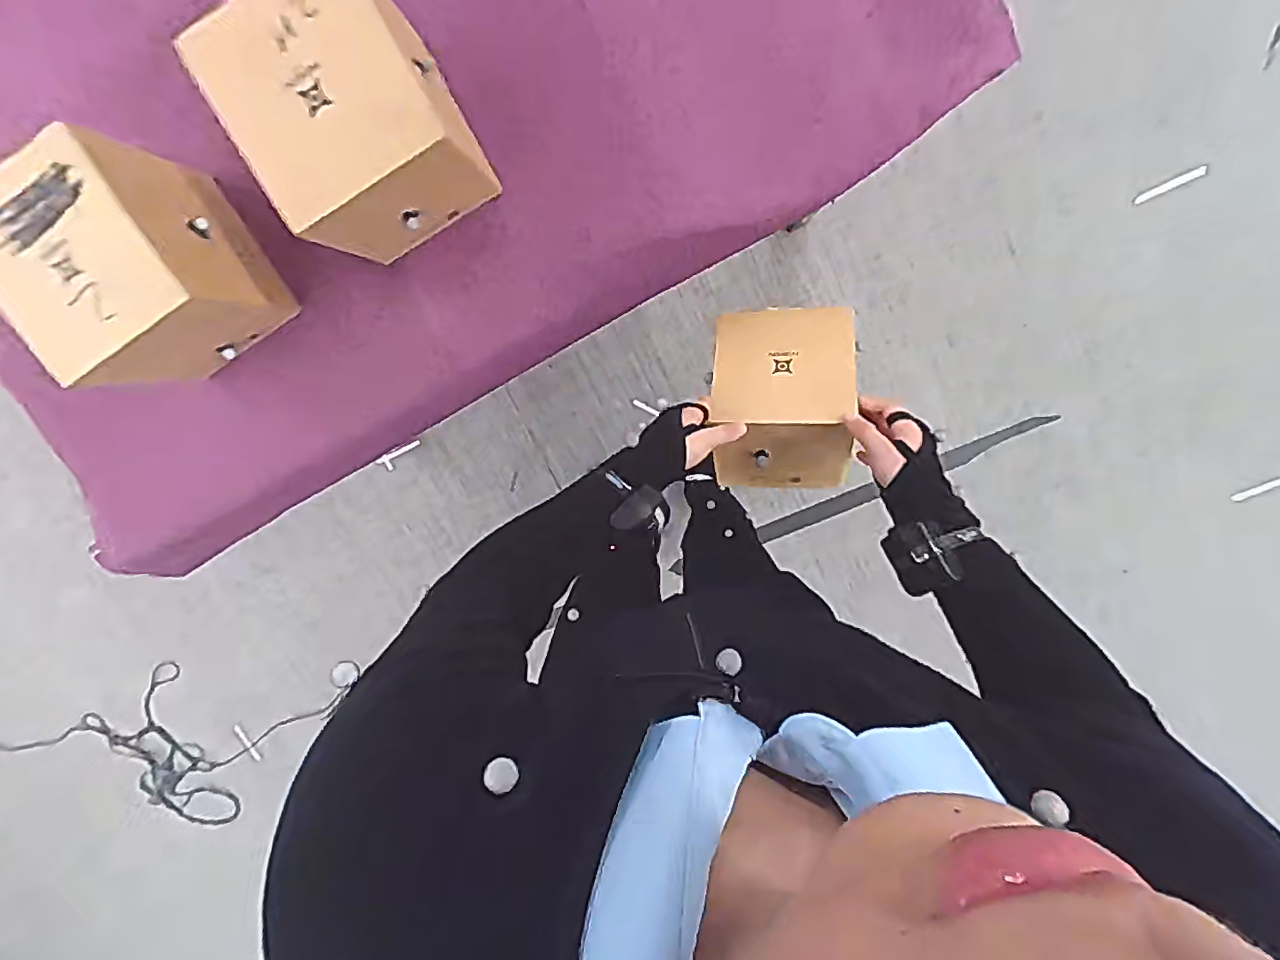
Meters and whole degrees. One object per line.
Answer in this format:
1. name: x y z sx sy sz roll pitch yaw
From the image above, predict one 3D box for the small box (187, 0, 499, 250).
1. small box: -0.266 -0.350 0.534 0.168 0.176 0.179 -27 100 7
